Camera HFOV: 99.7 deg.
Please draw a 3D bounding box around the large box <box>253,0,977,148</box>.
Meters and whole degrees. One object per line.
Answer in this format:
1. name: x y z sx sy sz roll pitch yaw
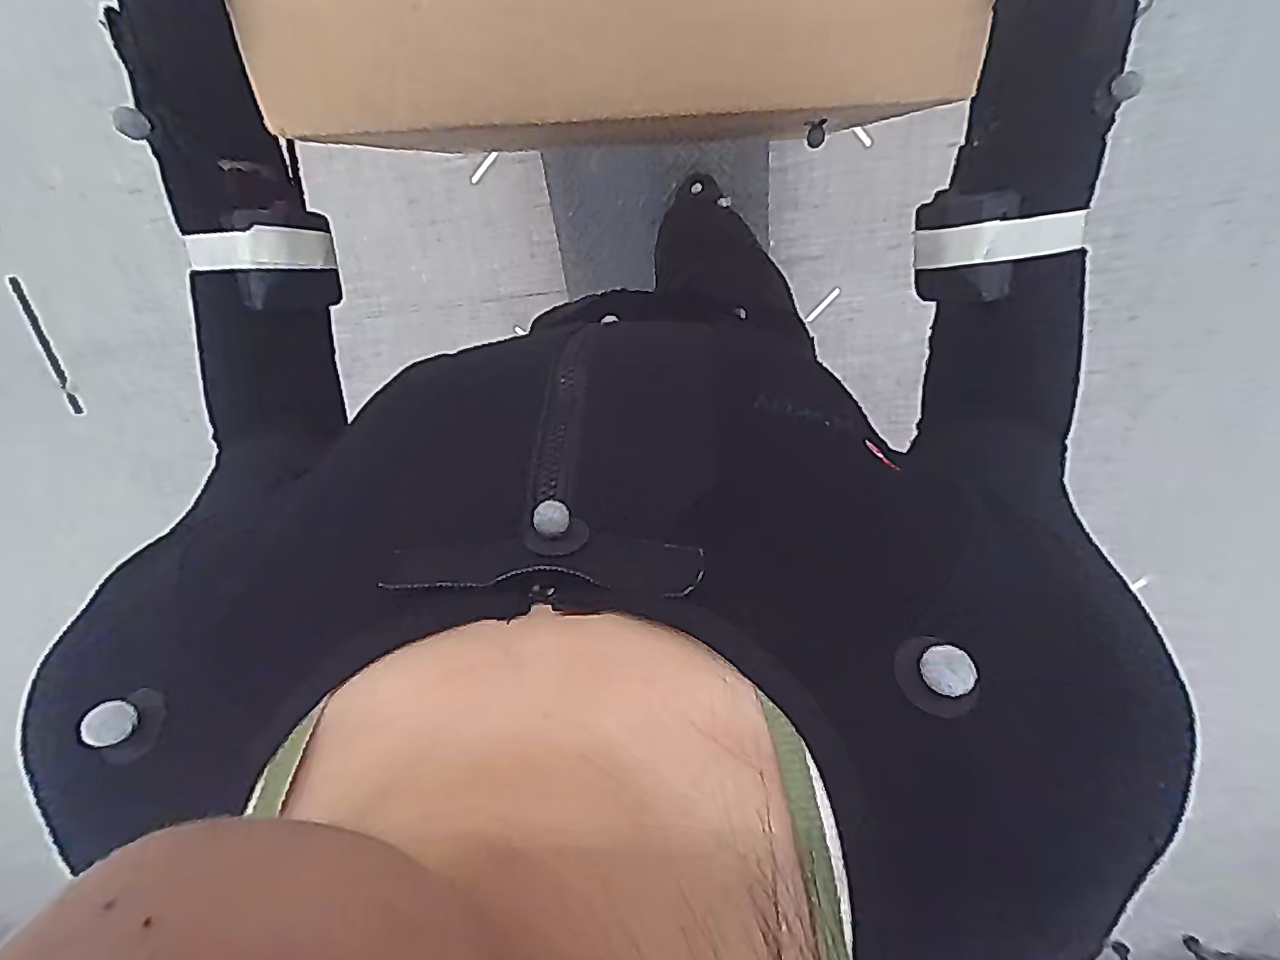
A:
1. large box: -0.016 -0.425 0.375 0.408 0.320 0.320 -2 119 3
